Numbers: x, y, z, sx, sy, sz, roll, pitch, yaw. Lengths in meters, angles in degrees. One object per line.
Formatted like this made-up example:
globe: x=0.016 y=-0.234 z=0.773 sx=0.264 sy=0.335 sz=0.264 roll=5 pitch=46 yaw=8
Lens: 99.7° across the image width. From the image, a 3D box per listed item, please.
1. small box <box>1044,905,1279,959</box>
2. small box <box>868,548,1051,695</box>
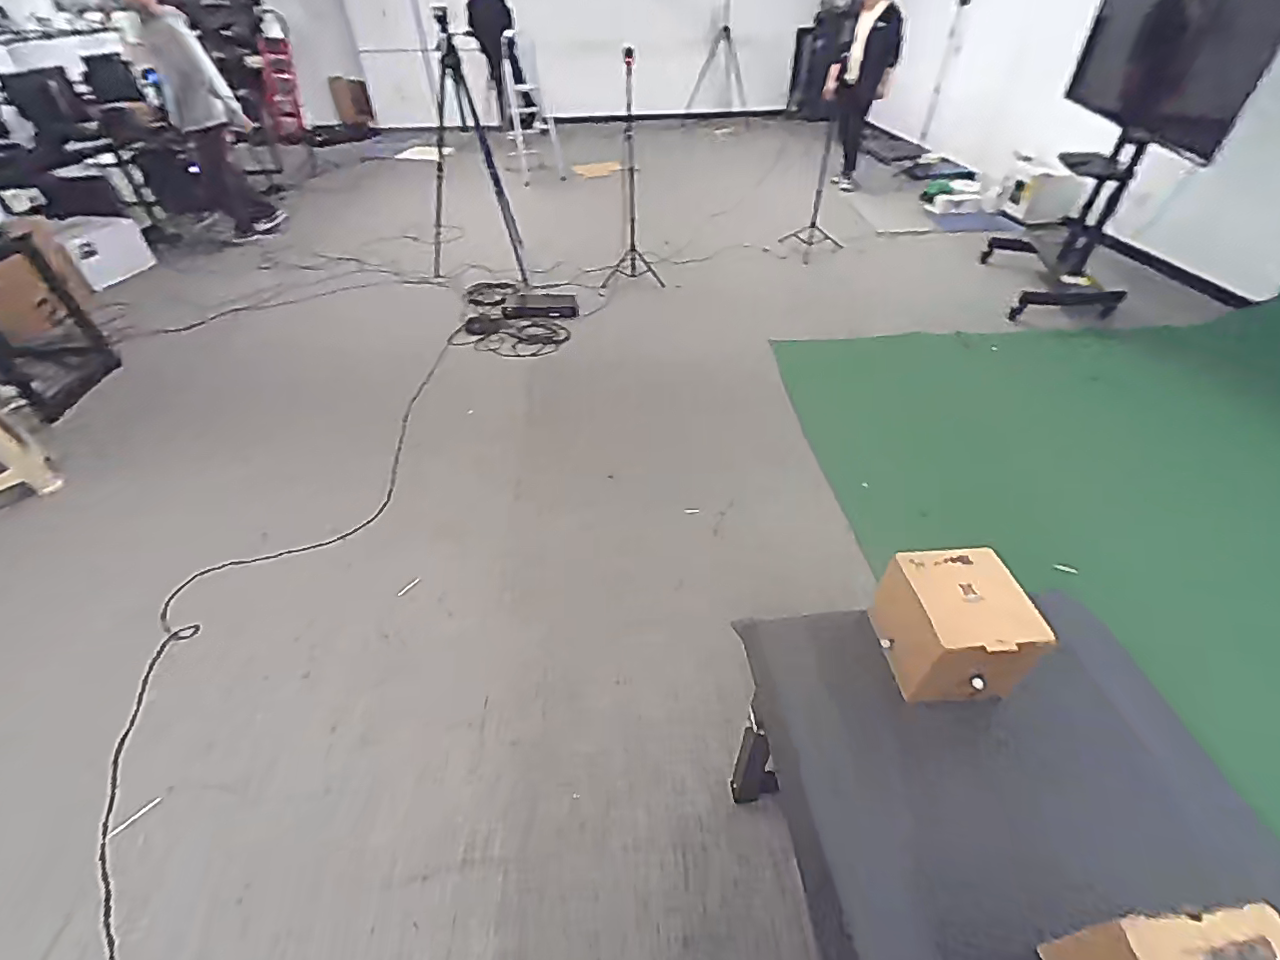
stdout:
small box: x=0.551 y=0.544 z=0.525 sx=0.168 sy=0.176 sz=0.179 roll=-4 pitch=44 yaw=-2
small box: x=0.493 y=0.231 z=0.868 sx=0.168 sy=0.176 sz=0.179 roll=-2 pitch=44 yaw=-2
